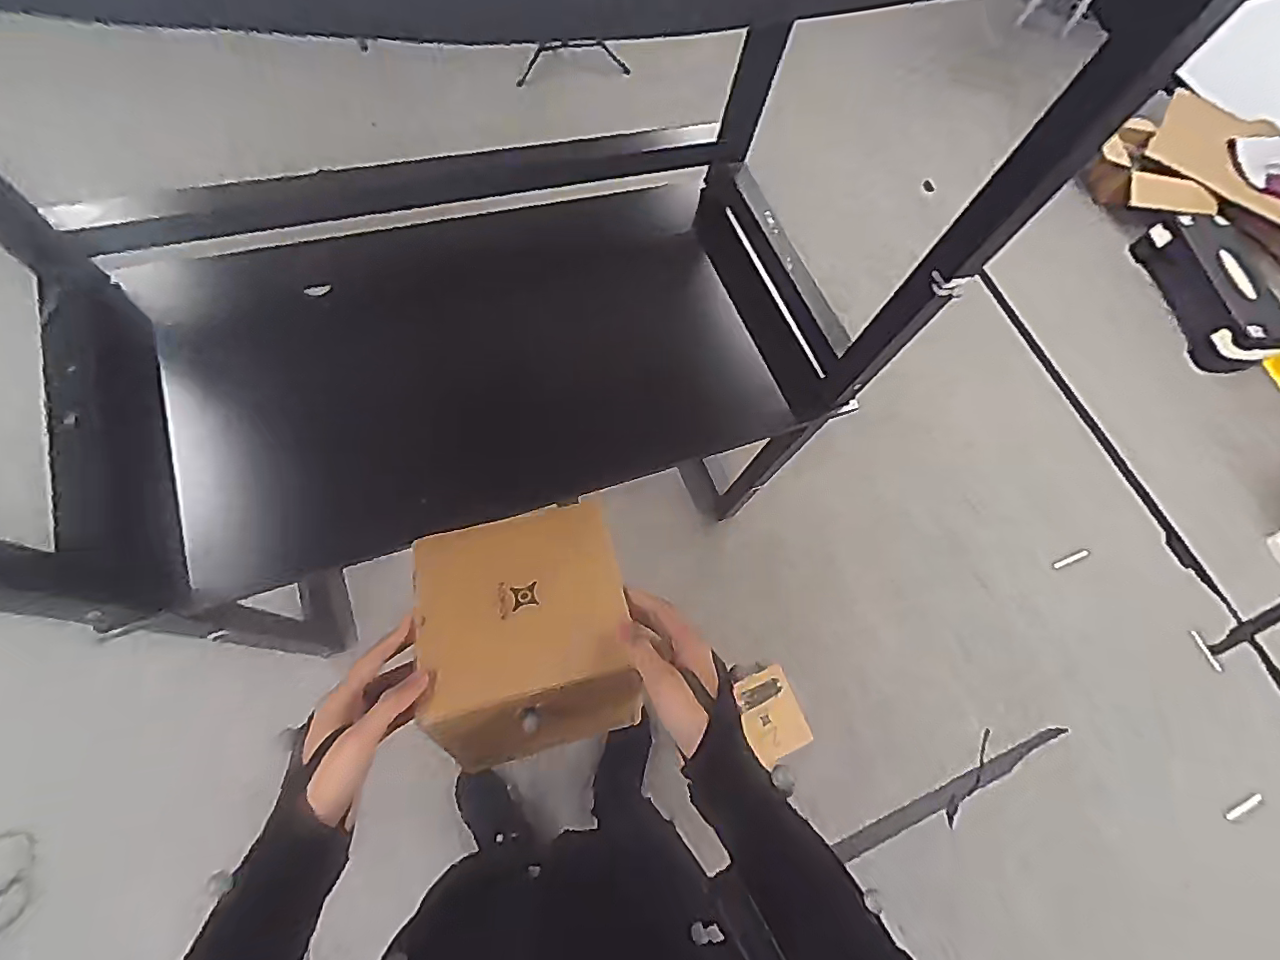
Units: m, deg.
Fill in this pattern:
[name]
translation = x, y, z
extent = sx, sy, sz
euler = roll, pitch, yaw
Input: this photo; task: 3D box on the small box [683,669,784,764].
[small box]
translation = 0.231, 0.597, 1.385
extent = 0.179, 0.176, 0.168
euler = -20, 73, -15
